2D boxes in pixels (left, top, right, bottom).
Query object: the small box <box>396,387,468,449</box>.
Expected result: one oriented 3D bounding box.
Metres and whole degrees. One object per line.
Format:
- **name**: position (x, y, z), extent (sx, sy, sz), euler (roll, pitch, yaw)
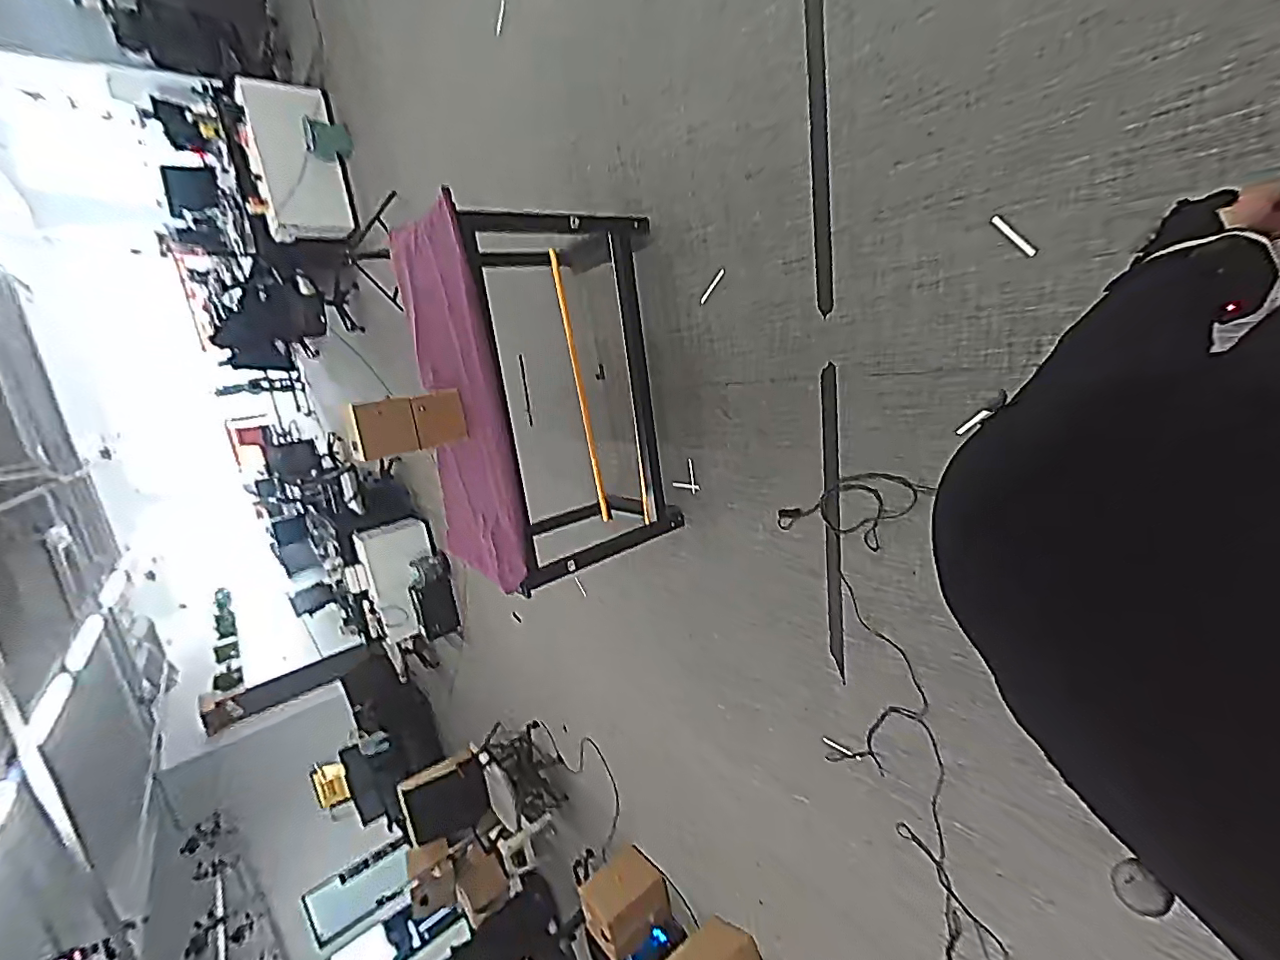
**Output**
- **small box**: position (-0.694, -0.211, 1.816), extent (0.168, 0.176, 0.179), euler (9, 111, 51)
